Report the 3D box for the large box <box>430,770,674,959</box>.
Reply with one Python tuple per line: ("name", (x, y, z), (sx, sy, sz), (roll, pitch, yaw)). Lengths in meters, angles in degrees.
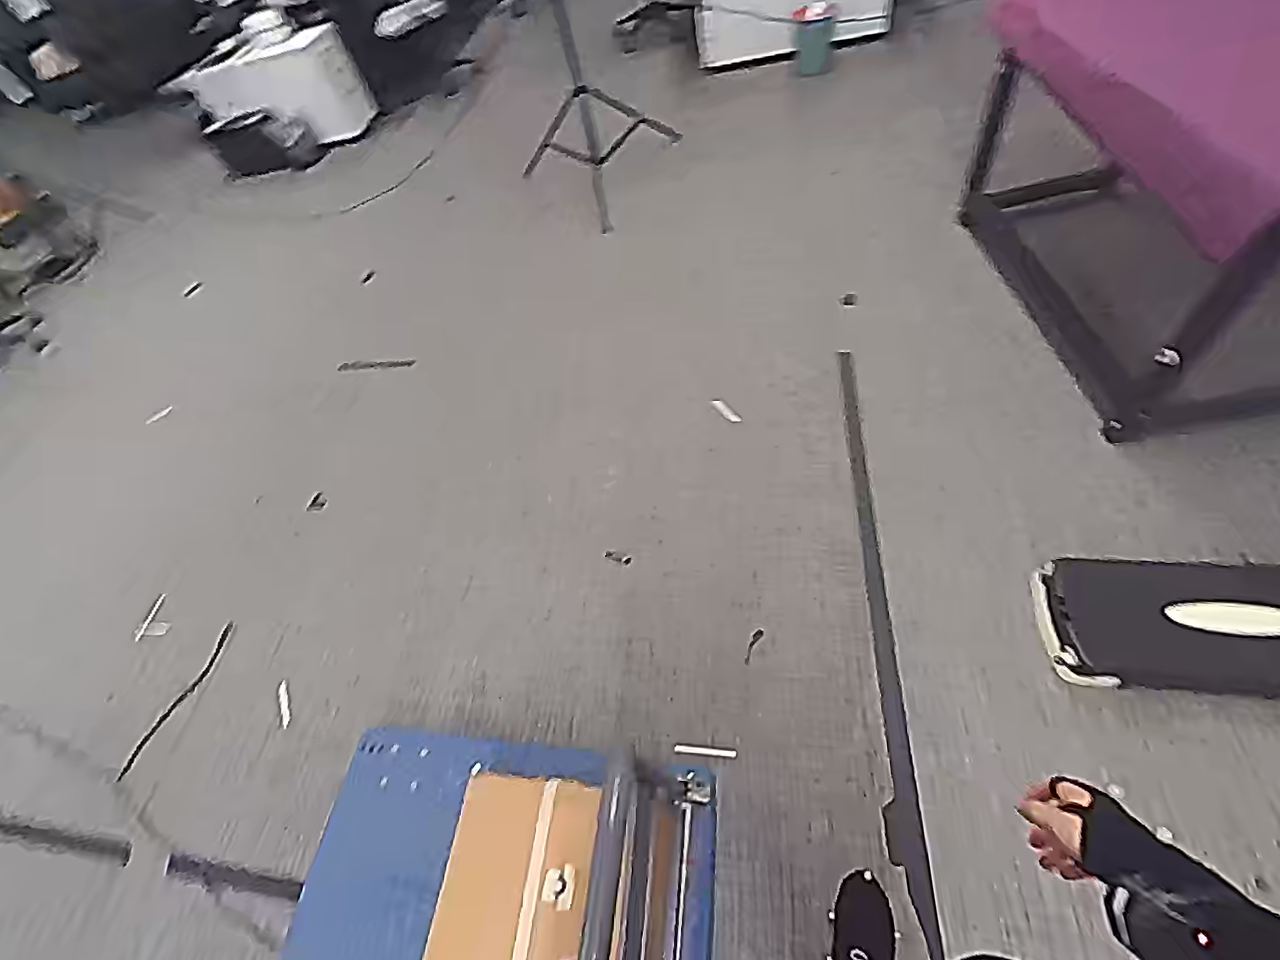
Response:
("large box", (-0.131, 0.762, 0.937), (0.320, 0.320, 0.408), (0, 56, 14))
